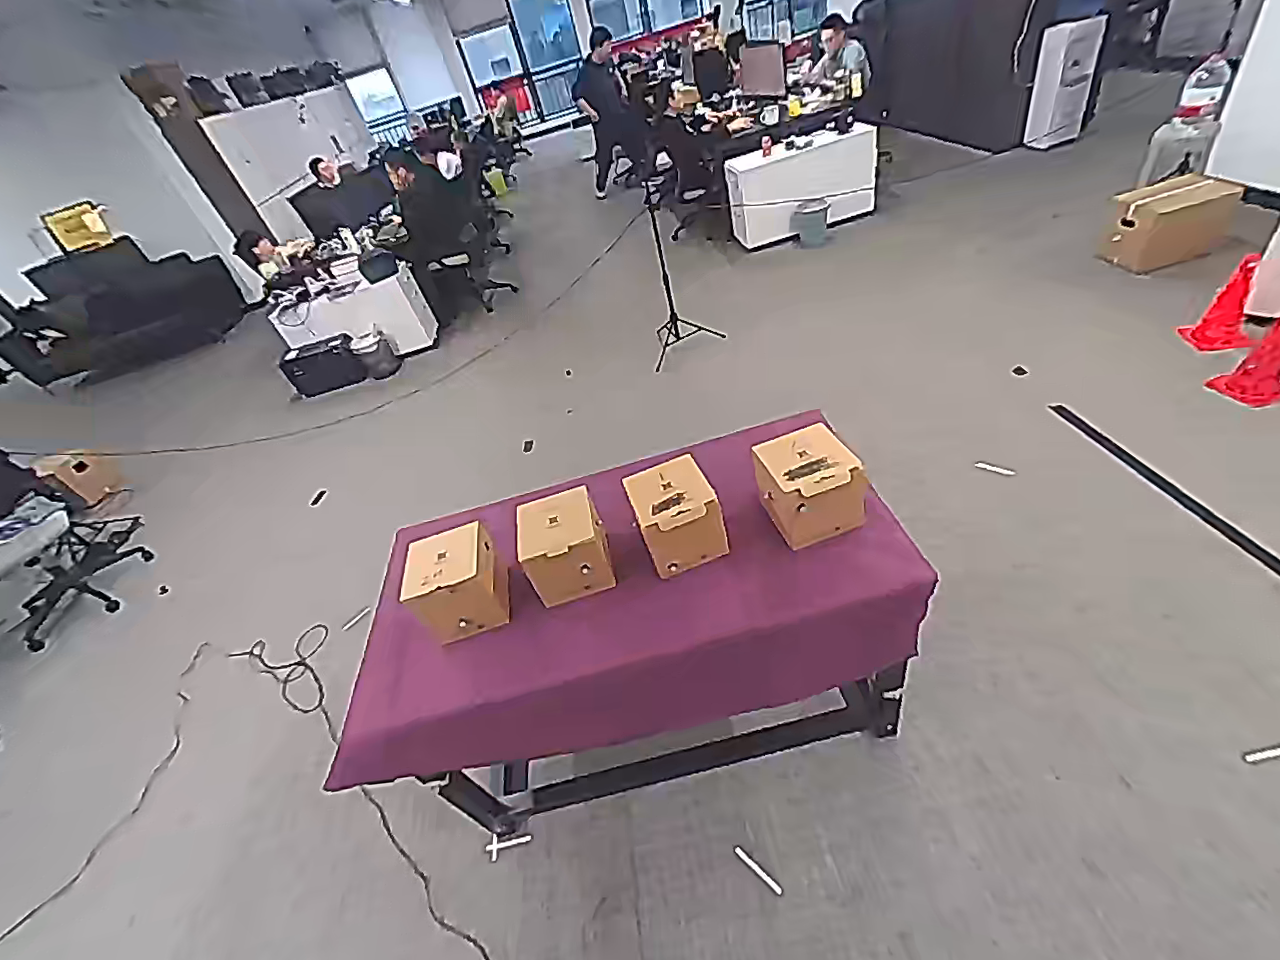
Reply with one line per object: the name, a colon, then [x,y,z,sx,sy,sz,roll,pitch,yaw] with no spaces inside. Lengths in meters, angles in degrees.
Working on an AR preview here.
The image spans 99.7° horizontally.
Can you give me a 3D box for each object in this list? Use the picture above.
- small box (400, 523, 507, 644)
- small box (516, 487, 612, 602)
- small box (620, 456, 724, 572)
small box: [-0.406,0.233,1.209,0.168,0.176,0.179,-19,40,0]
small box: [-0.169,0.152,1.214,0.168,0.176,0.179,-18,39,0]
small box: [0.074,0.082,1.199,0.168,0.176,0.179,-21,39,-4]
